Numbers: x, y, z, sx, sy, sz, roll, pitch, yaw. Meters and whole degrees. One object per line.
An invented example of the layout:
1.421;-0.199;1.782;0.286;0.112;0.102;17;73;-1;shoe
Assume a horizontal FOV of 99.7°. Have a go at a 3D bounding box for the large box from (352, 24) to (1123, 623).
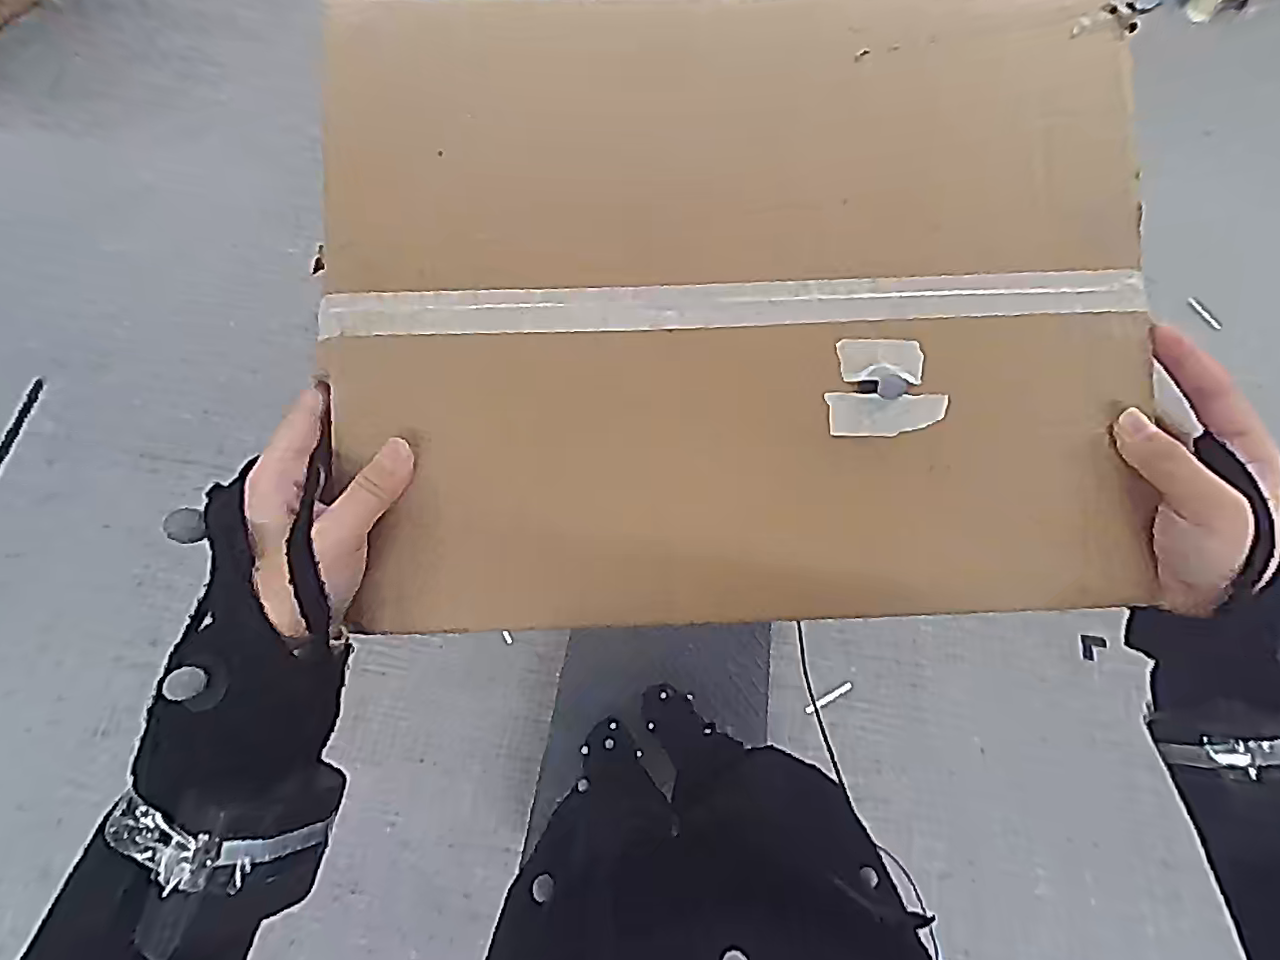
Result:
0.047;-0.083;0.432;0.408;0.320;0.320;-1;89;-1;large box
